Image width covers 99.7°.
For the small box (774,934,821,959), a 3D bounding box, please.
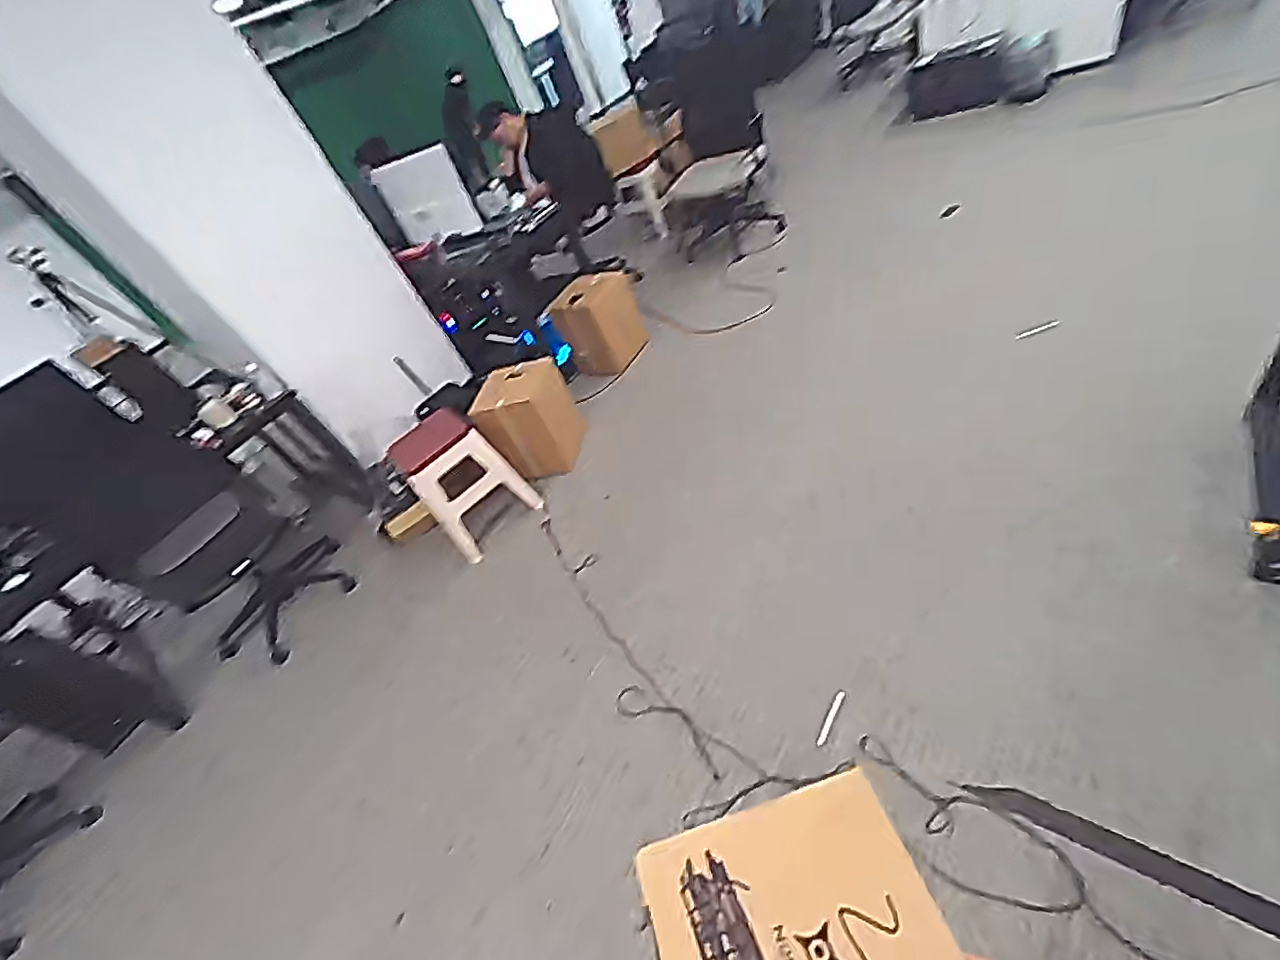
[{"bbox_3d":[0.297,0.922,0.906,0.179,0.176,0.168,21,60,41],"label":"small box"}]
